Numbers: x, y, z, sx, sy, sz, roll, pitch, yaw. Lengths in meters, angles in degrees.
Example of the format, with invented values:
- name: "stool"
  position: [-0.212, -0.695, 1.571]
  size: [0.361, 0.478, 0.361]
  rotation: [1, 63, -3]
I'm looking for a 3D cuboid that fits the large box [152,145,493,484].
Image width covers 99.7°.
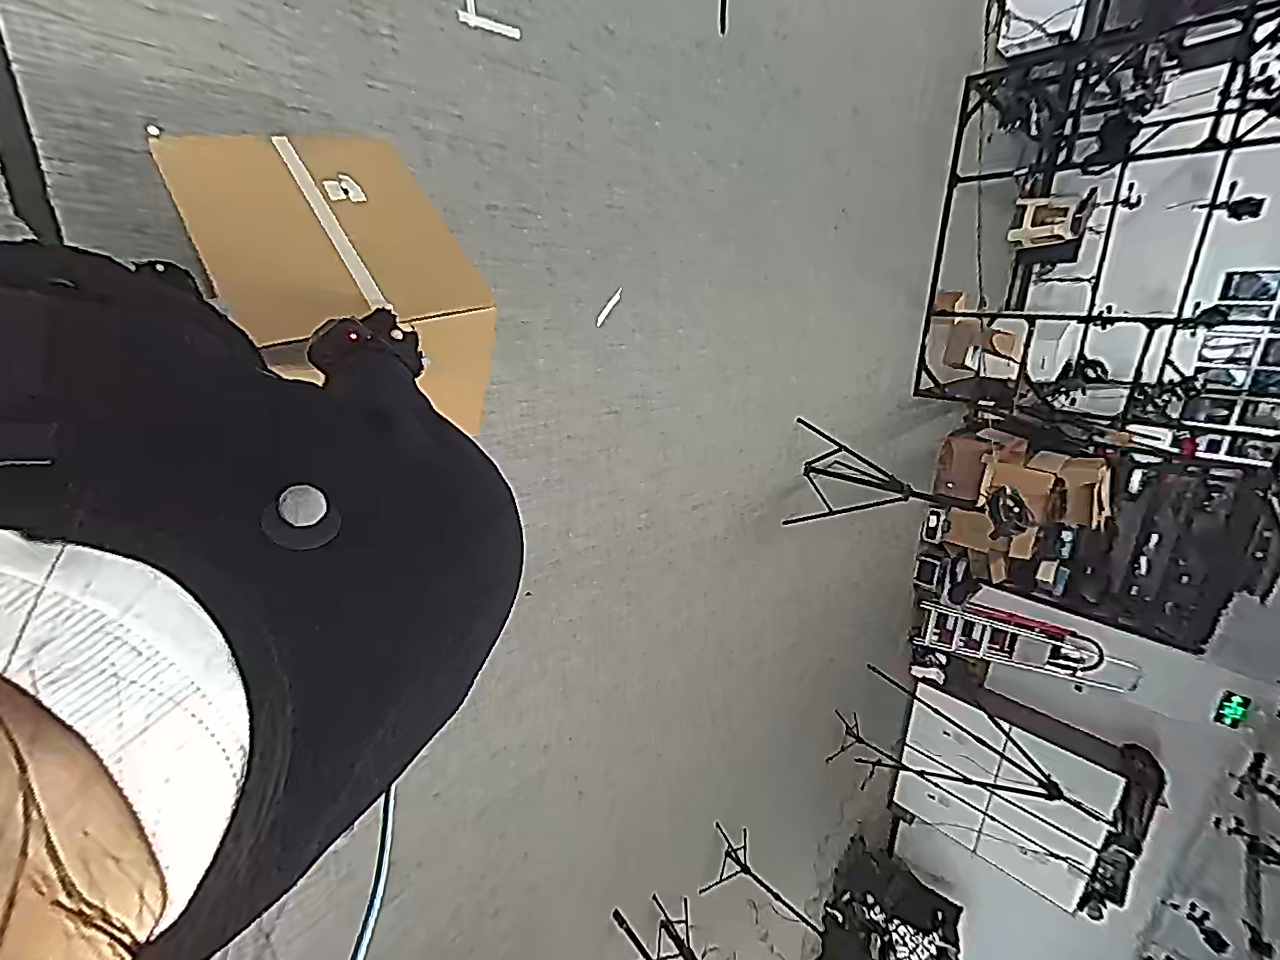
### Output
- name: "large box"
  position: [-0.485, -0.270, 0.879]
  size: [0.320, 0.408, 0.320]
  rotation: [-24, 159, -34]
